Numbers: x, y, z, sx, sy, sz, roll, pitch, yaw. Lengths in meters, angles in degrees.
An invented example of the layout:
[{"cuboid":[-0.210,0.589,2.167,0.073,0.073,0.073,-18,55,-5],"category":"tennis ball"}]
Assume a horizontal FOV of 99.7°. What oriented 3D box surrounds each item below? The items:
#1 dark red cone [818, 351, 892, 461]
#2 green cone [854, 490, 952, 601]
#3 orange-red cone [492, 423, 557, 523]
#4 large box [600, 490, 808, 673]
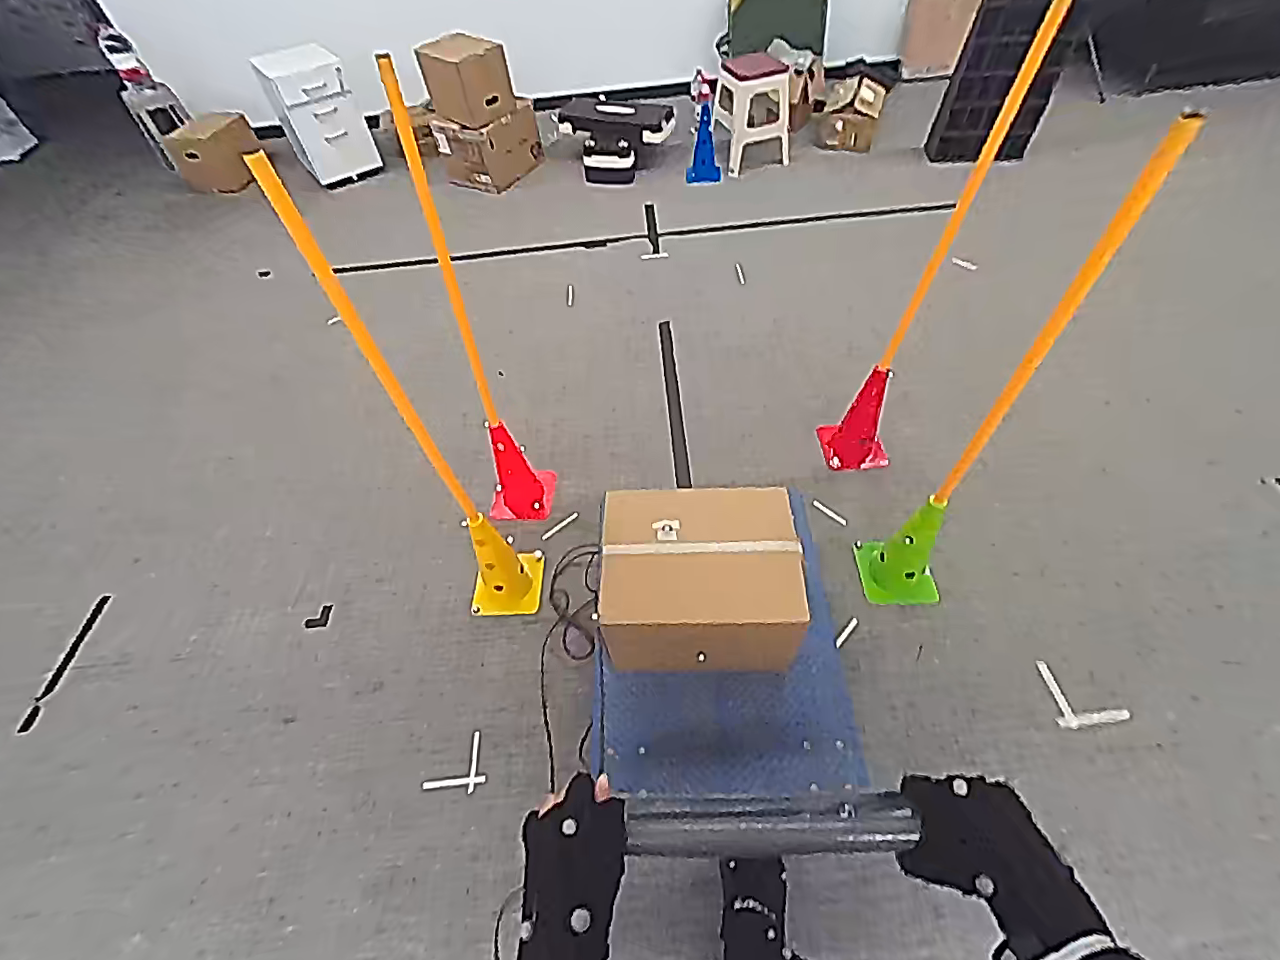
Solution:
[{"cuboid":[0.718,-0.242,1.716,0.201,0.394,0.202,-5,53,0],"category":"dark red cone"},{"cuboid":[0.731,0.153,1.433,0.202,0.368,0.200,-2,52,3],"category":"green cone"},{"cuboid":[-0.399,-0.046,1.701,0.198,0.360,0.199,1,51,5],"category":"orange-red cone"},{"cuboid":[0.135,0.243,1.238,0.408,0.320,0.320,-3,53,5],"category":"large box"}]
